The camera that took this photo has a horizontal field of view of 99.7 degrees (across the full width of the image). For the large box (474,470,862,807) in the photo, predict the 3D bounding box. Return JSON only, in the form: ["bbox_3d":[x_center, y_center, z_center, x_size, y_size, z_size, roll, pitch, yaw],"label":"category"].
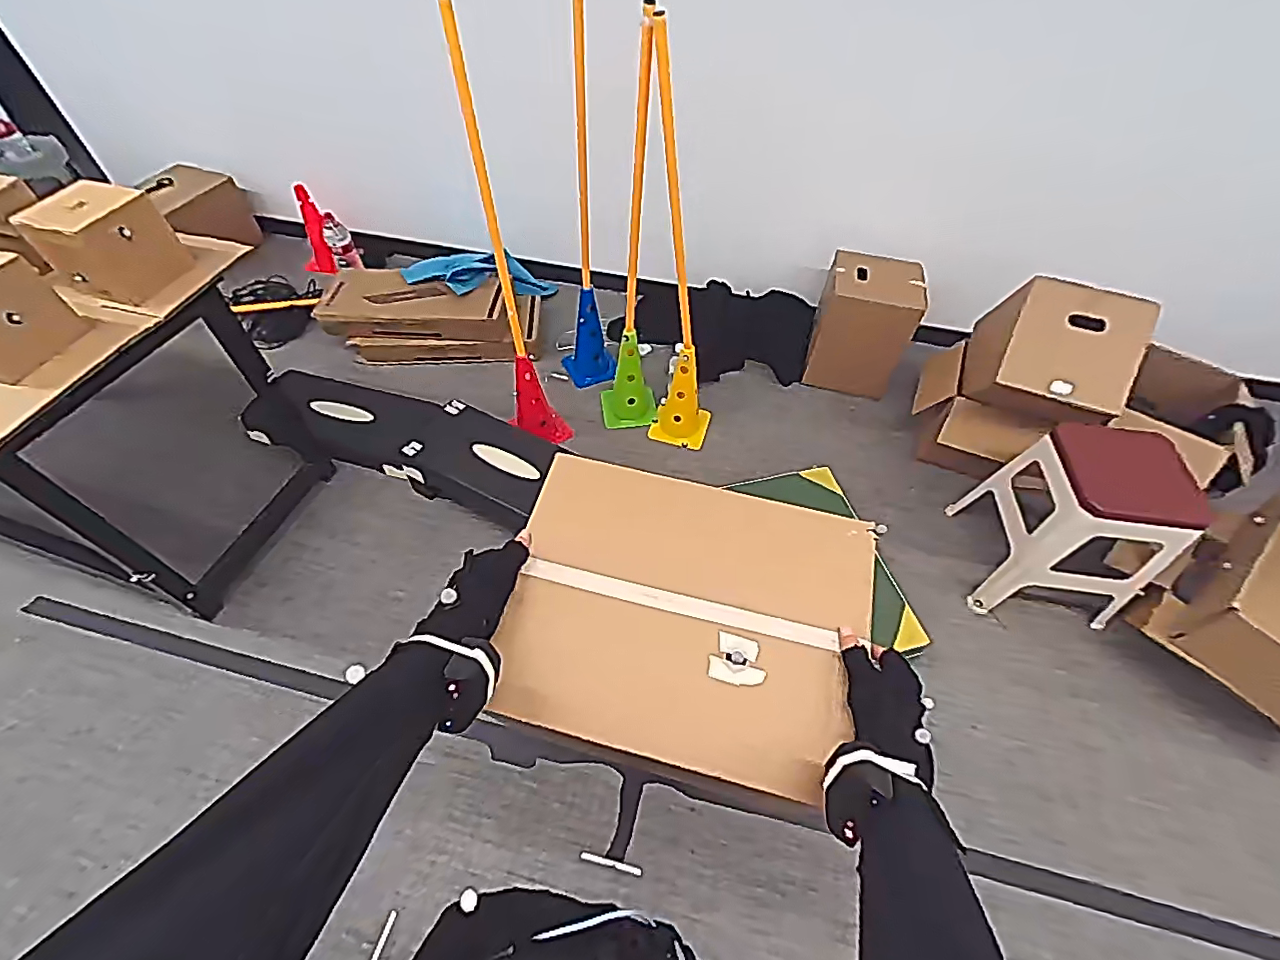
[{"bbox_3d":[0.045,0.227,0.750,0.408,0.320,0.320,13,62,6],"label":"large box"}]
